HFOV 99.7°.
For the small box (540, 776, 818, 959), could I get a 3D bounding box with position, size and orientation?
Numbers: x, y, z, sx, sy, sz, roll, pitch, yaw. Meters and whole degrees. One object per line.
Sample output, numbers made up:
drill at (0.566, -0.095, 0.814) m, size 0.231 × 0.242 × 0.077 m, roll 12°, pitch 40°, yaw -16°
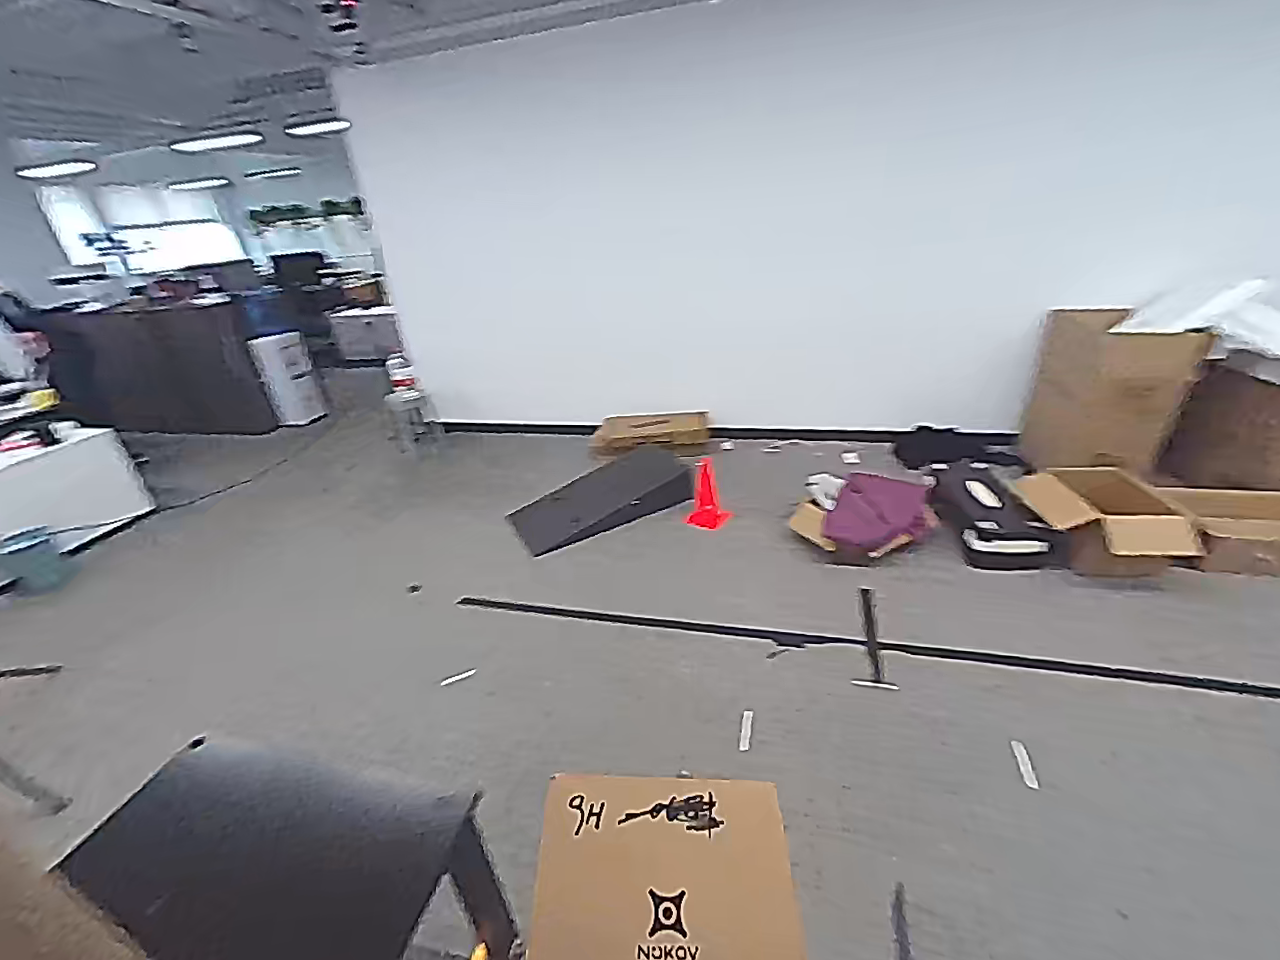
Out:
small box at (0.020, 0.333, 0.375) m, size 0.168 × 0.176 × 0.179 m, roll 3°, pitch 41°, yaw -1°
